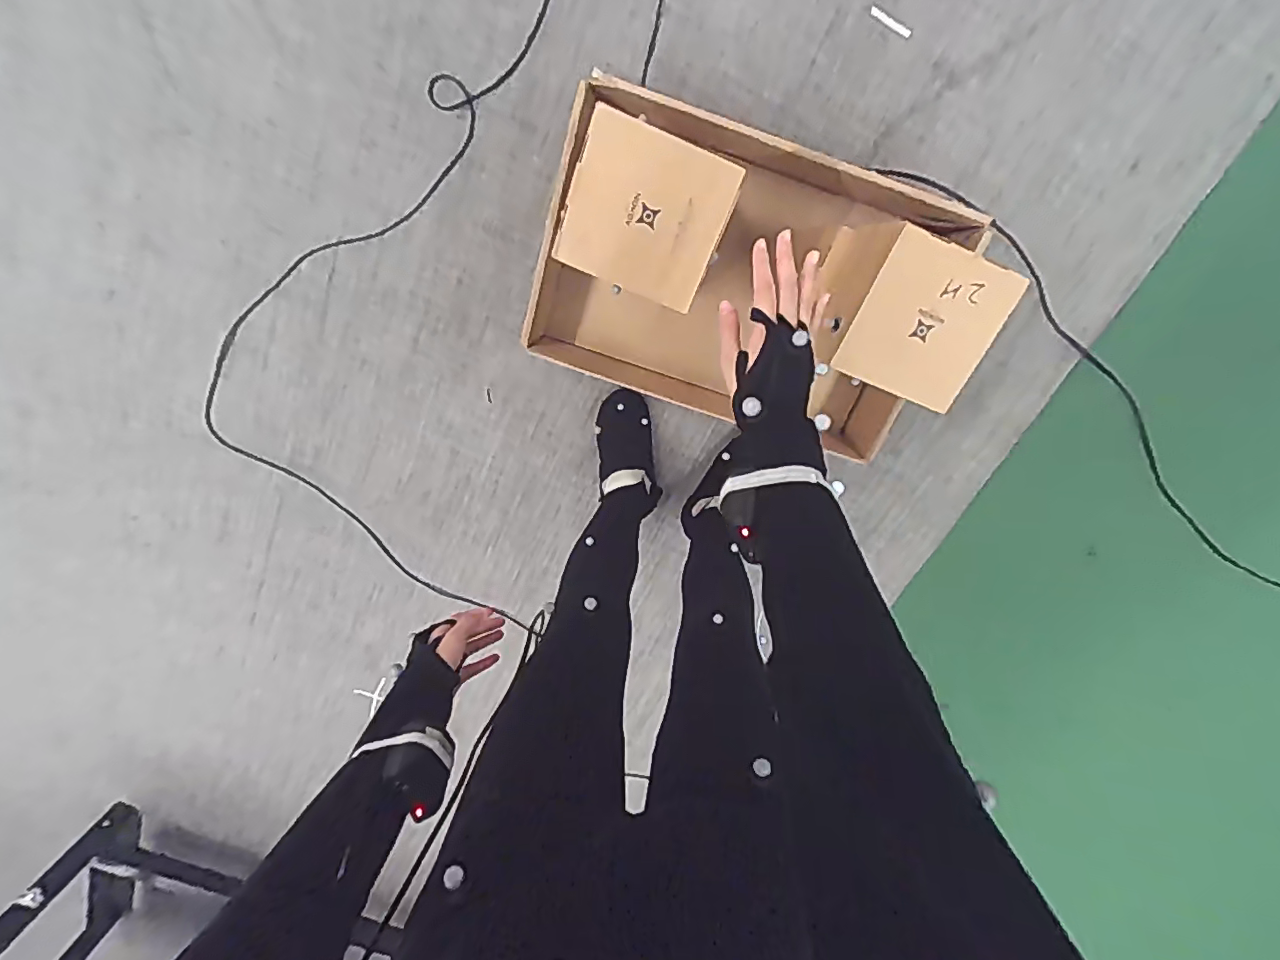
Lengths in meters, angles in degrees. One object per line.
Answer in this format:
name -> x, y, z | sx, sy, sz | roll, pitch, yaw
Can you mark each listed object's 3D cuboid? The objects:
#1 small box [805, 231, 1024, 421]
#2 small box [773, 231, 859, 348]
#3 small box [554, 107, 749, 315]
small box -> 0.339, -0.206, 0.716 | 0.168, 0.176, 0.179 | 22, 111, -7
small box -> 0.333, -0.276, 0.866 | 0.179, 0.176, 0.168 | 22, 112, -6
small box -> 0.012, -0.327, 0.683 | 0.179, 0.176, 0.168 | 22, 113, -7
